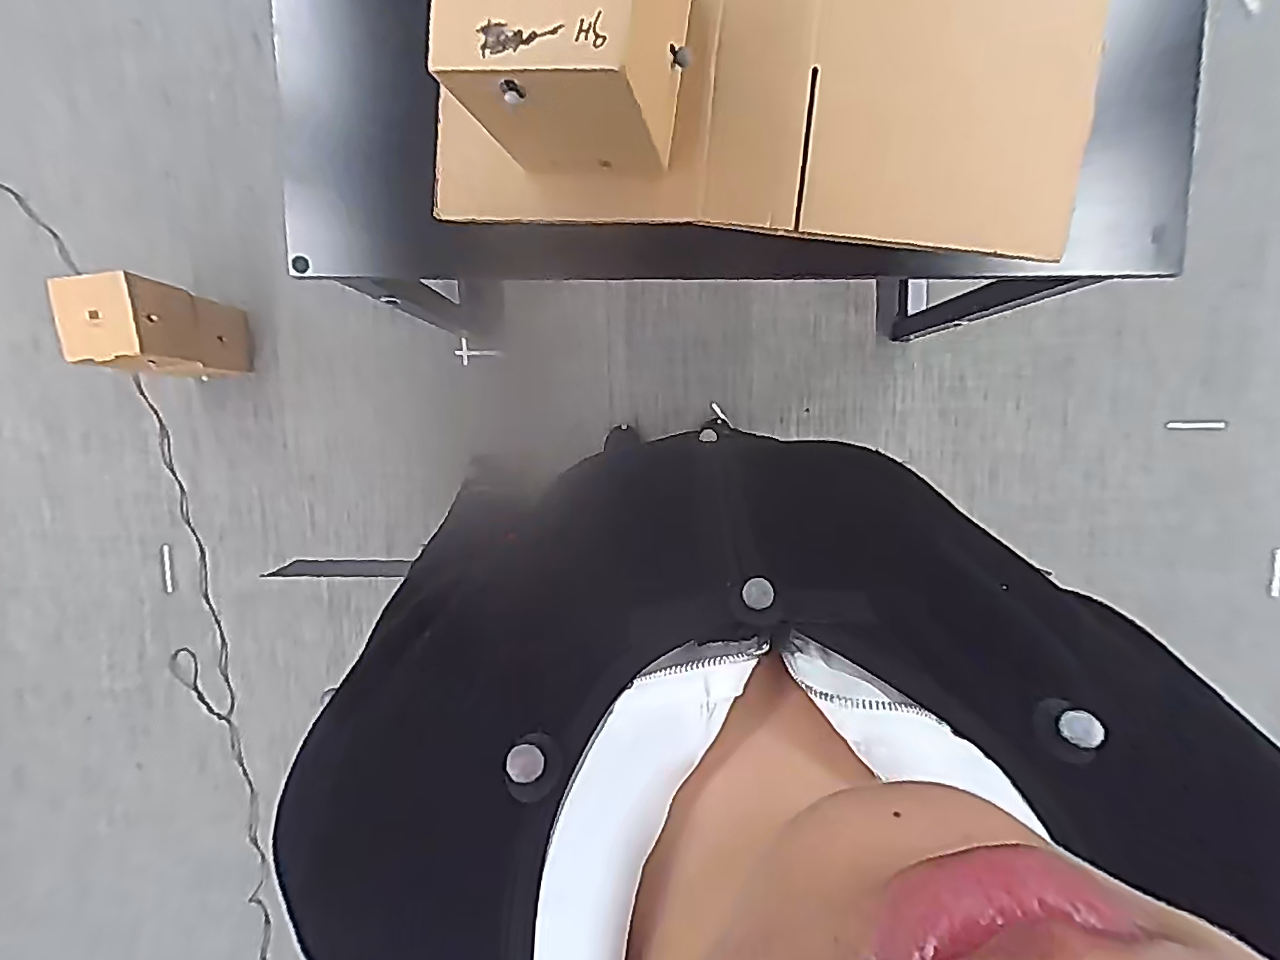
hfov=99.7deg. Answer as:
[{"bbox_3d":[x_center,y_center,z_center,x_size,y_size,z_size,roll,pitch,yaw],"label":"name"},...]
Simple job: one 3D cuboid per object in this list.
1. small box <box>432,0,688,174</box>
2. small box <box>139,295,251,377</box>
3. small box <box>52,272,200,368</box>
[{"bbox_3d":[-0.057,-0.407,0.483,0.168,0.176,0.179,9,96,13],"label":"small box"},{"bbox_3d":[-1.144,-0.363,1.385,0.168,0.176,0.179,-4,97,1],"label":"small box"},{"bbox_3d":[-1.147,-0.352,1.223,0.168,0.176,0.179,-8,95,0],"label":"small box"}]
